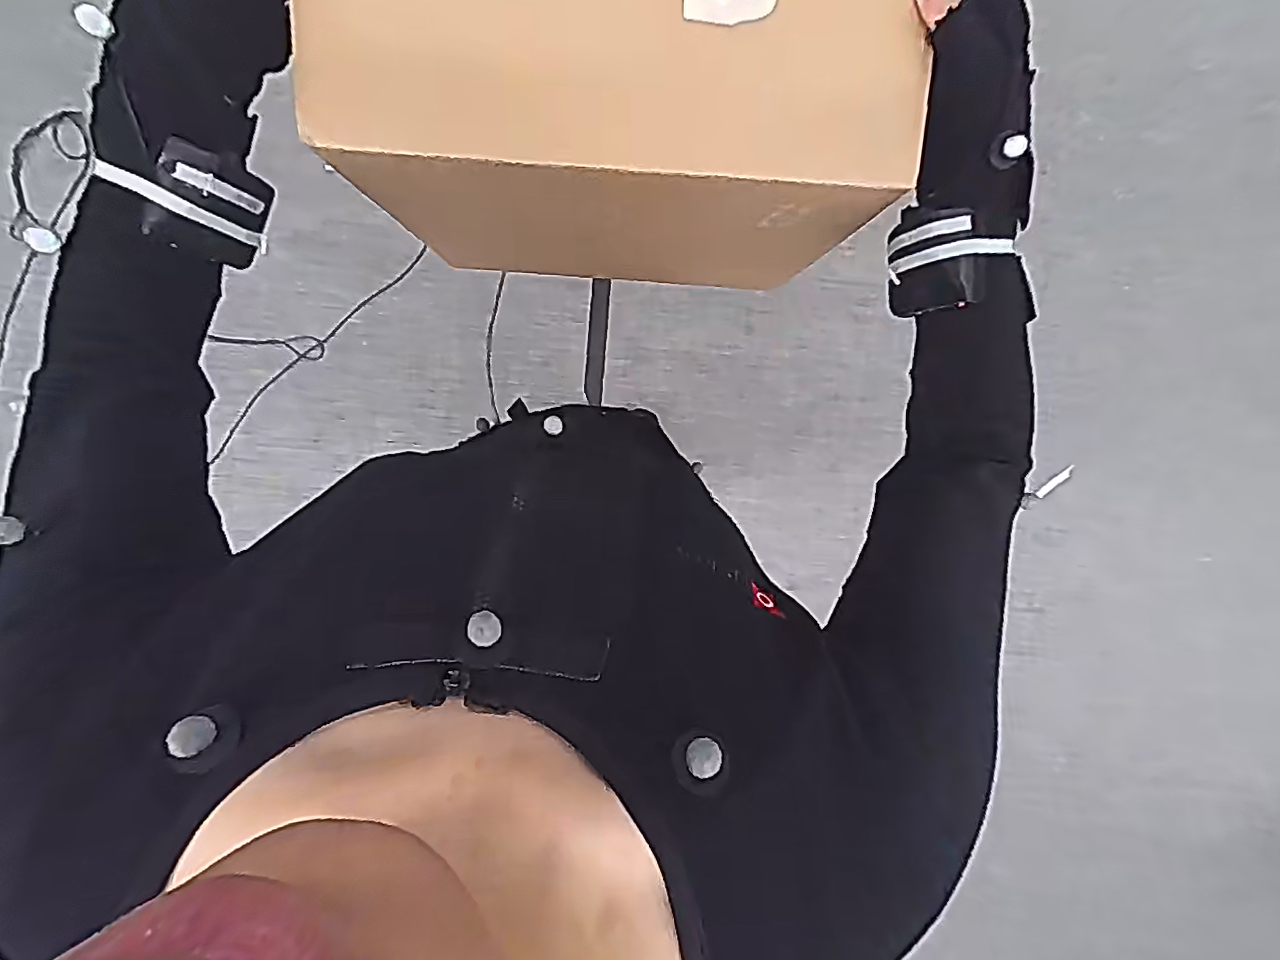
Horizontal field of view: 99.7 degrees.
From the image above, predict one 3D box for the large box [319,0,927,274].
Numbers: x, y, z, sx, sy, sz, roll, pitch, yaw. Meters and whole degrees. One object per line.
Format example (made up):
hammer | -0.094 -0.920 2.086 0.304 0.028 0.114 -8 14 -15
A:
large box | -0.013 -0.387 0.492 0.408 0.320 0.320 2 98 -3
